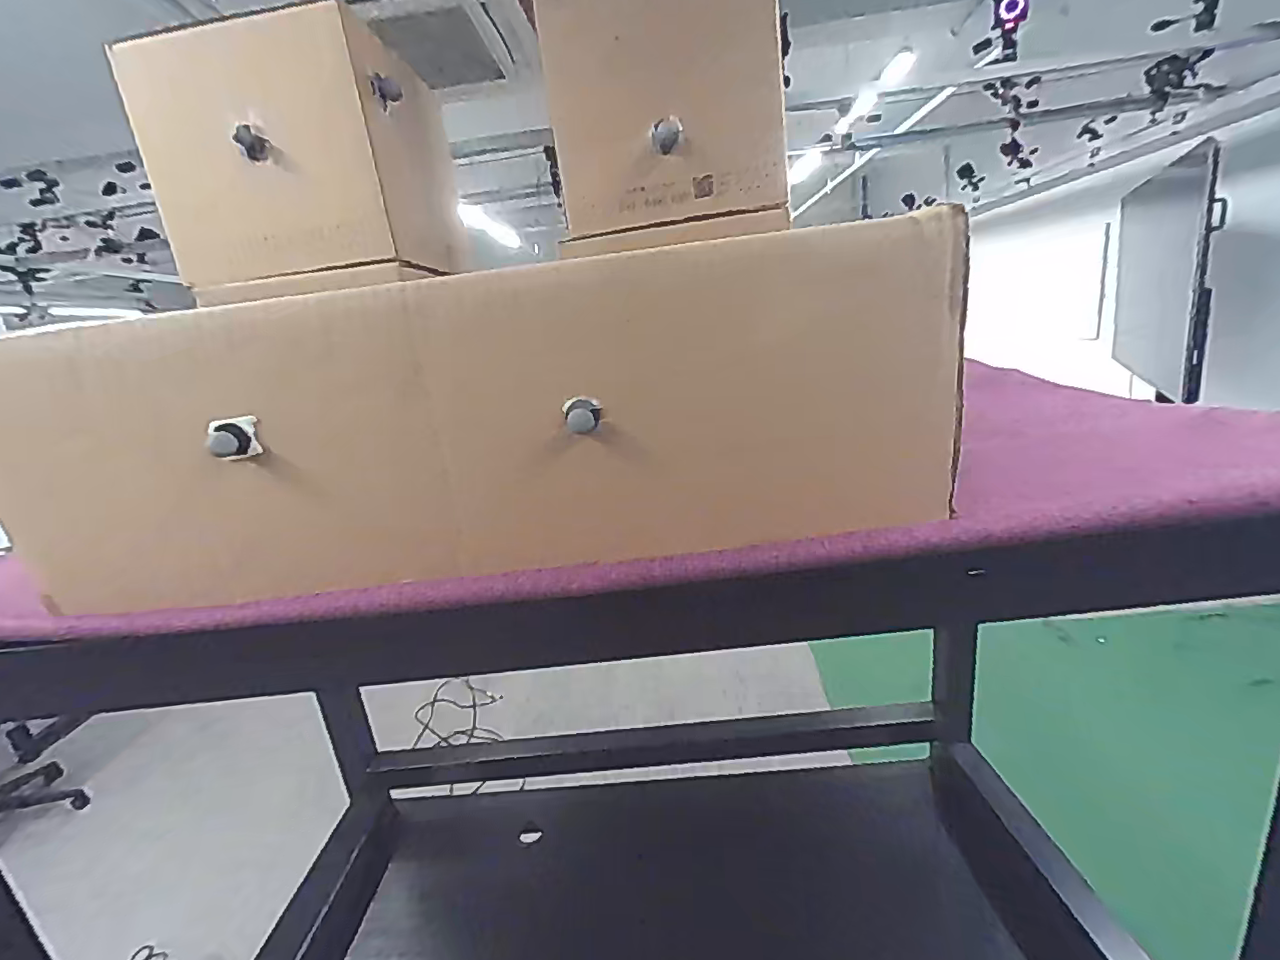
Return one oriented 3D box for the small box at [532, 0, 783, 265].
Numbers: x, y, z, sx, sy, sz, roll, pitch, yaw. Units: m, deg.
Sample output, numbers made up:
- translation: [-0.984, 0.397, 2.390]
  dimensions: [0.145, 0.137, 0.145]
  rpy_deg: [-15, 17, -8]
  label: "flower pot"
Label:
- translation: [0.021, -0.288, 0.461]
  dimensions: [0.168, 0.176, 0.179]
  rpy_deg: [-7, 15, 6]
  label: "small box"
